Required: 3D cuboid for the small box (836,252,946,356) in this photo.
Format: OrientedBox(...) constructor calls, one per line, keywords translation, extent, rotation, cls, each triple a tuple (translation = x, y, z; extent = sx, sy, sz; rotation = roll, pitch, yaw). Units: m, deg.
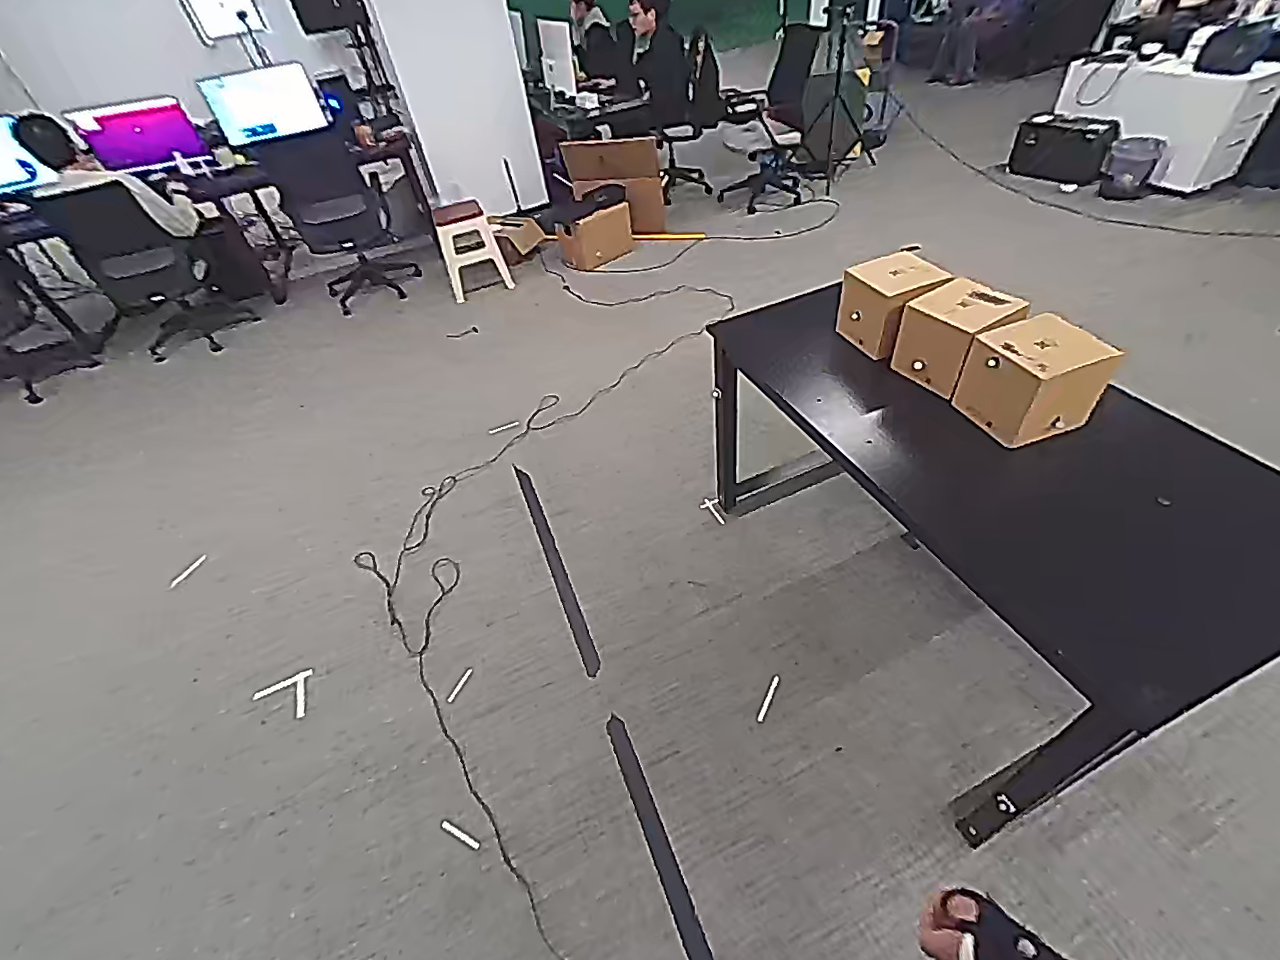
OrientedBox(translation=(0.597, -0.425, 1.315), extent=(0.179, 0.176, 0.168), rotation=(-19, 46, -9), cls="small box")
